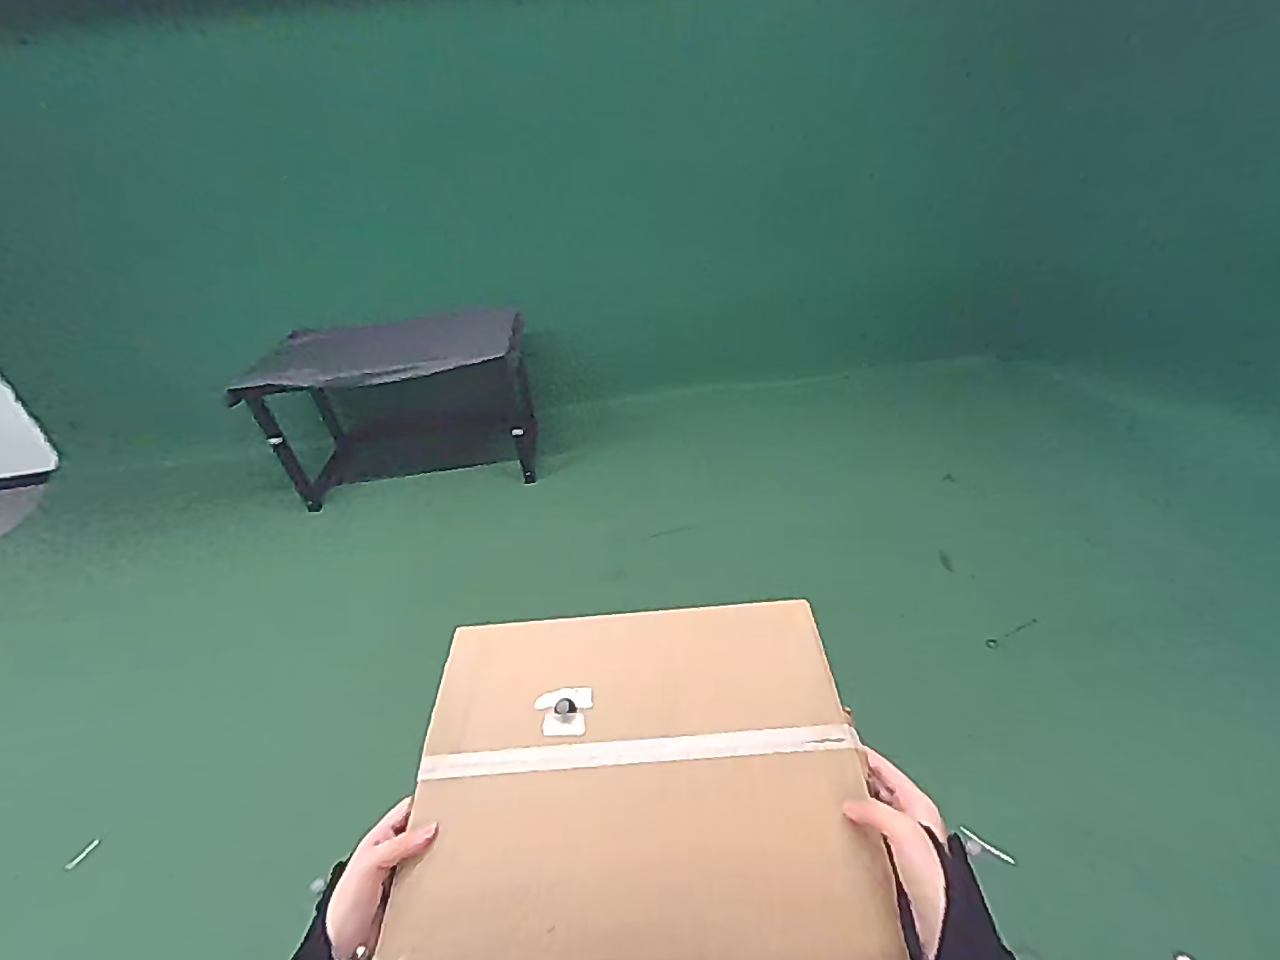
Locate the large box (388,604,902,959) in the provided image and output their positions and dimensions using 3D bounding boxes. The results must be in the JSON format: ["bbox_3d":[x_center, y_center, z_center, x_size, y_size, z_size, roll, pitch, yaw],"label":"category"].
[{"bbox_3d":[0.011,0.375,0.612,0.408,0.320,0.320,-7,41,4],"label":"large box"}]
